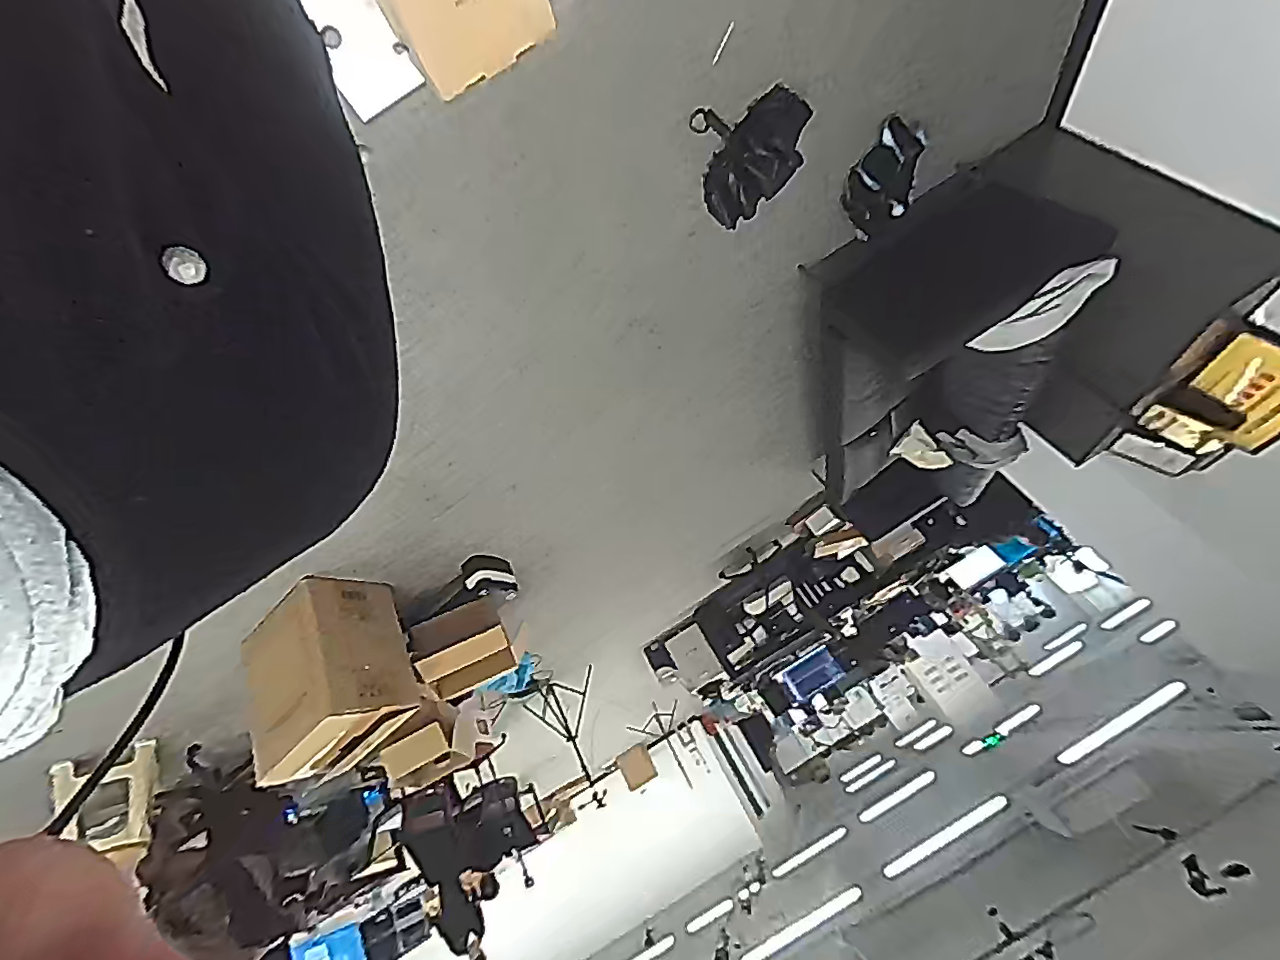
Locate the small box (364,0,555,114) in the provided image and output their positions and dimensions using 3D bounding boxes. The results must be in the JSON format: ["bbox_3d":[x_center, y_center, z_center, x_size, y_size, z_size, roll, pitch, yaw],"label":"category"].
[{"bbox_3d":[-0.228,-0.574,0.614,0.168,0.176,0.179,-34,148,-1],"label":"small box"}]
